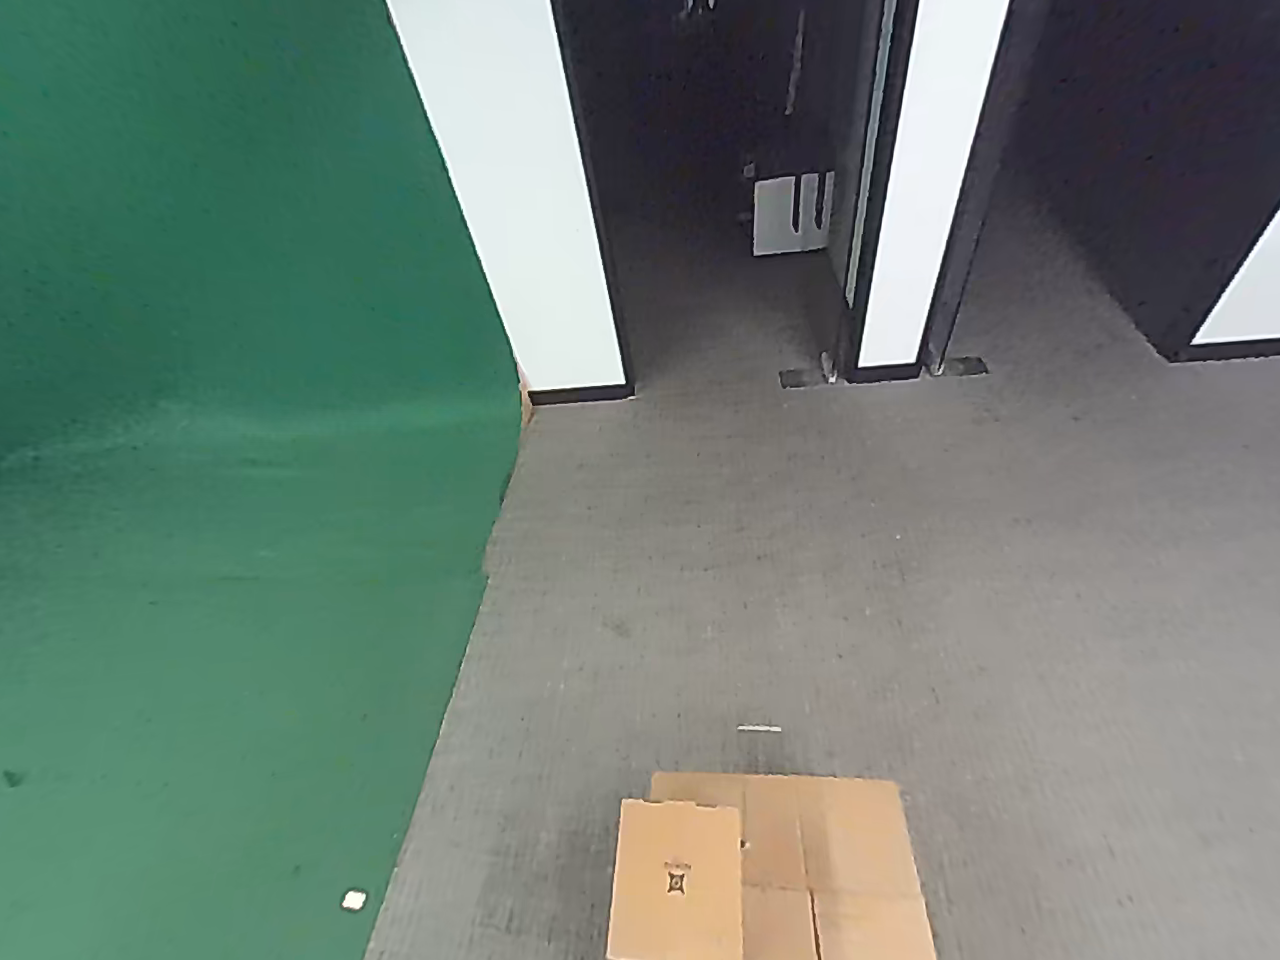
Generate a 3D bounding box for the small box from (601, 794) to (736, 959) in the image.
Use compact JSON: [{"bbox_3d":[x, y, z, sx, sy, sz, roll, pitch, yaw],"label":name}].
[{"bbox_3d":[0.051,0.565,0.758,0.168,0.176,0.179,0,47,9],"label":"small box"}]
